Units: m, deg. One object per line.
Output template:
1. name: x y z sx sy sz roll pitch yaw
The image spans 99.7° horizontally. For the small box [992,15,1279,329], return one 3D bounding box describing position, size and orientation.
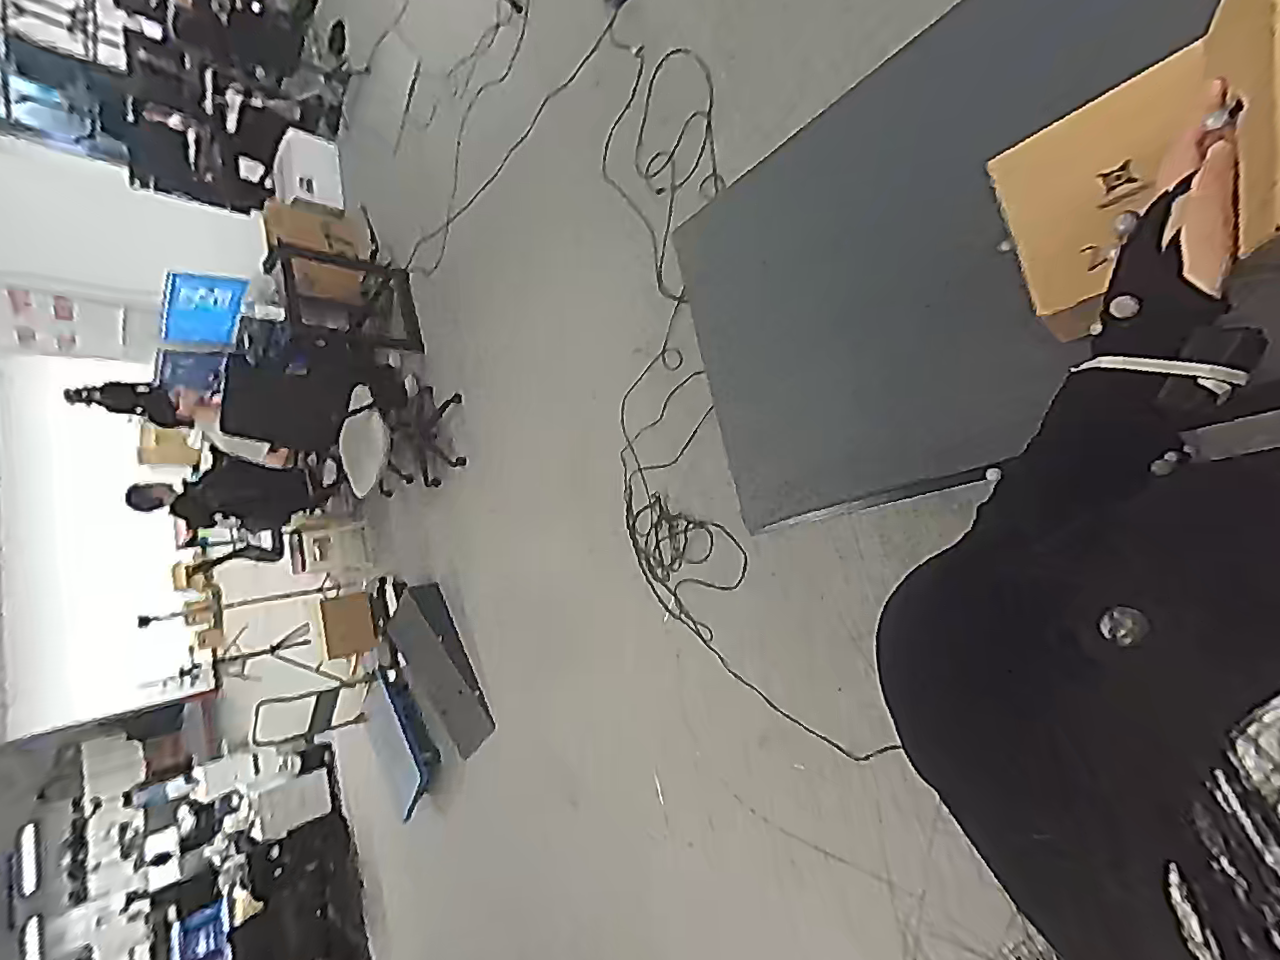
1. small box: 0.476 -0.271 0.527 0.168 0.176 0.179 -21 77 44
